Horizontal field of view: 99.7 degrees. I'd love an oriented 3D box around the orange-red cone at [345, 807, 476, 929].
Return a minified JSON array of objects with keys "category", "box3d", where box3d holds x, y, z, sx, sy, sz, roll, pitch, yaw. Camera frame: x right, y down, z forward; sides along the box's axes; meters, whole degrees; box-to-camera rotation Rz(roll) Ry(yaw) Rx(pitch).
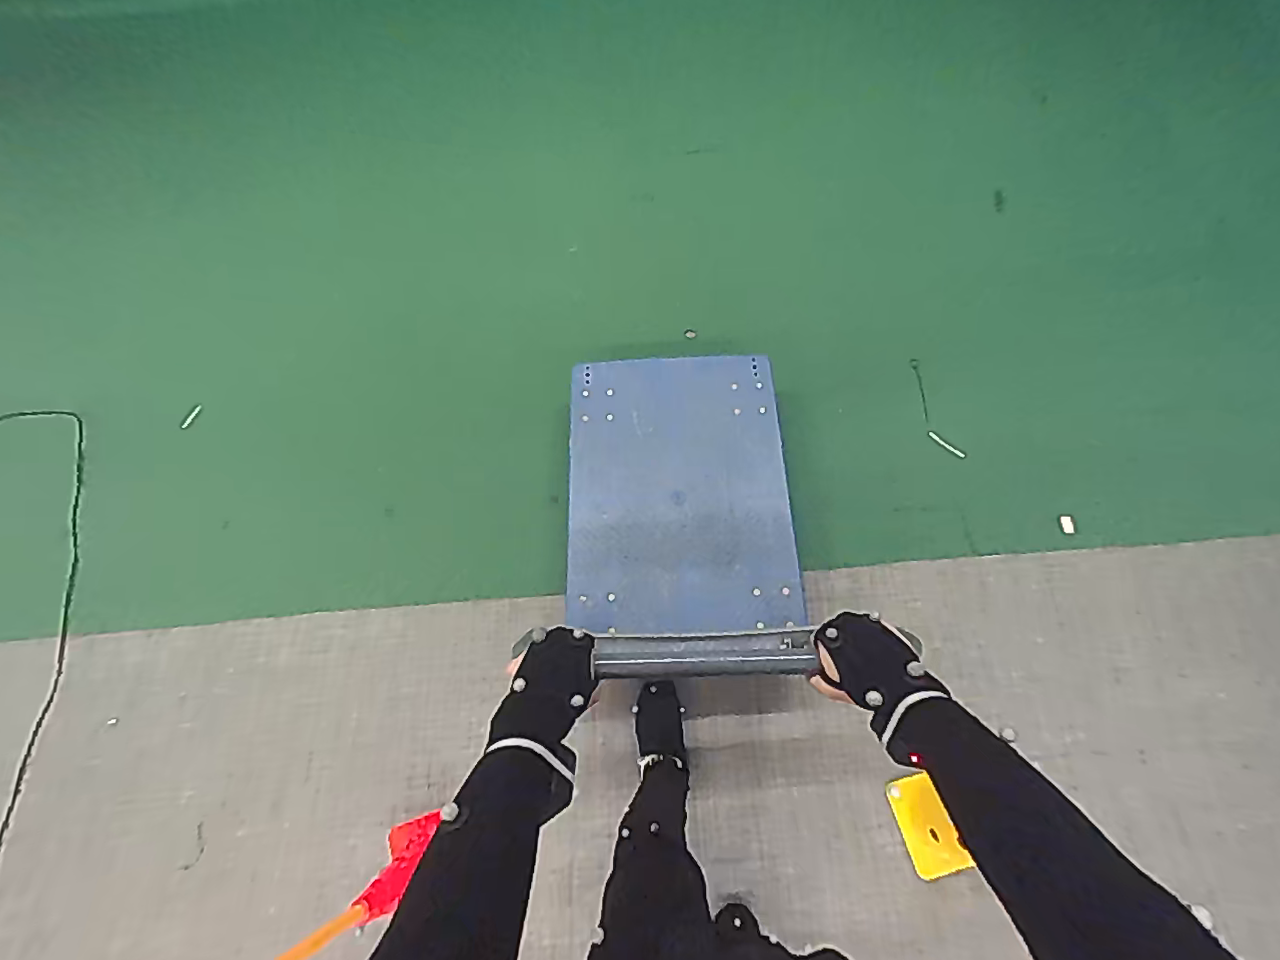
[{"category":"orange-red cone","box3d":[-0.490,0.834,1.108,0.199,0.360,0.198,-19,67,-3]}]
